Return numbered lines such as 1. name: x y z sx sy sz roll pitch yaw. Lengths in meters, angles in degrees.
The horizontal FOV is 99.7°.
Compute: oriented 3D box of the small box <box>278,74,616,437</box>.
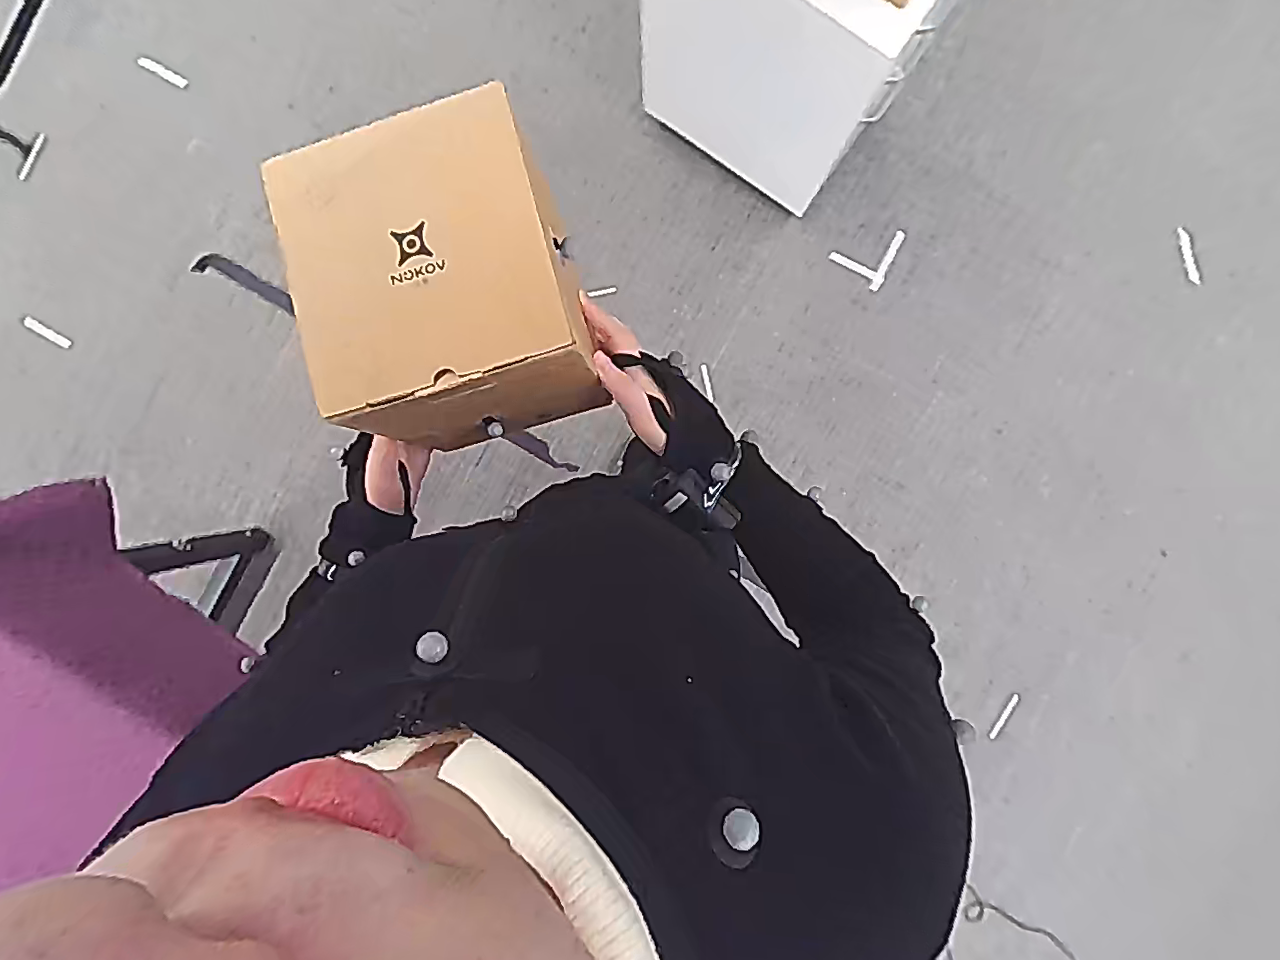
1. small box: -0.123 -0.143 0.410 0.168 0.176 0.179 -15 87 4
